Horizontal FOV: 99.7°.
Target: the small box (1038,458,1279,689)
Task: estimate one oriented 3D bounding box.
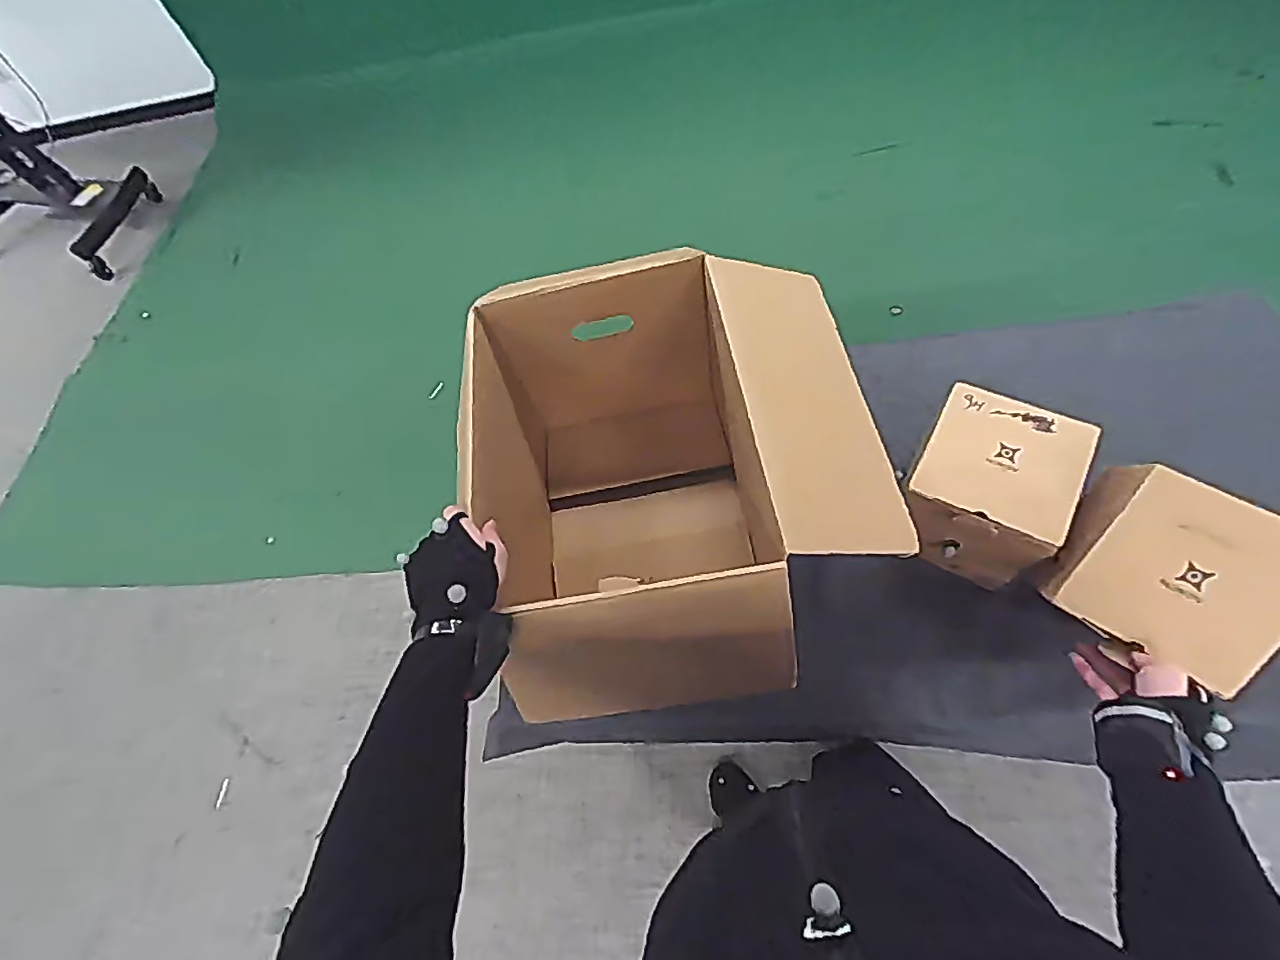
[{"bbox_3d":[0.586,0.091,0.607,0.168,0.176,0.179,32,105,23],"label":"small box"}]
